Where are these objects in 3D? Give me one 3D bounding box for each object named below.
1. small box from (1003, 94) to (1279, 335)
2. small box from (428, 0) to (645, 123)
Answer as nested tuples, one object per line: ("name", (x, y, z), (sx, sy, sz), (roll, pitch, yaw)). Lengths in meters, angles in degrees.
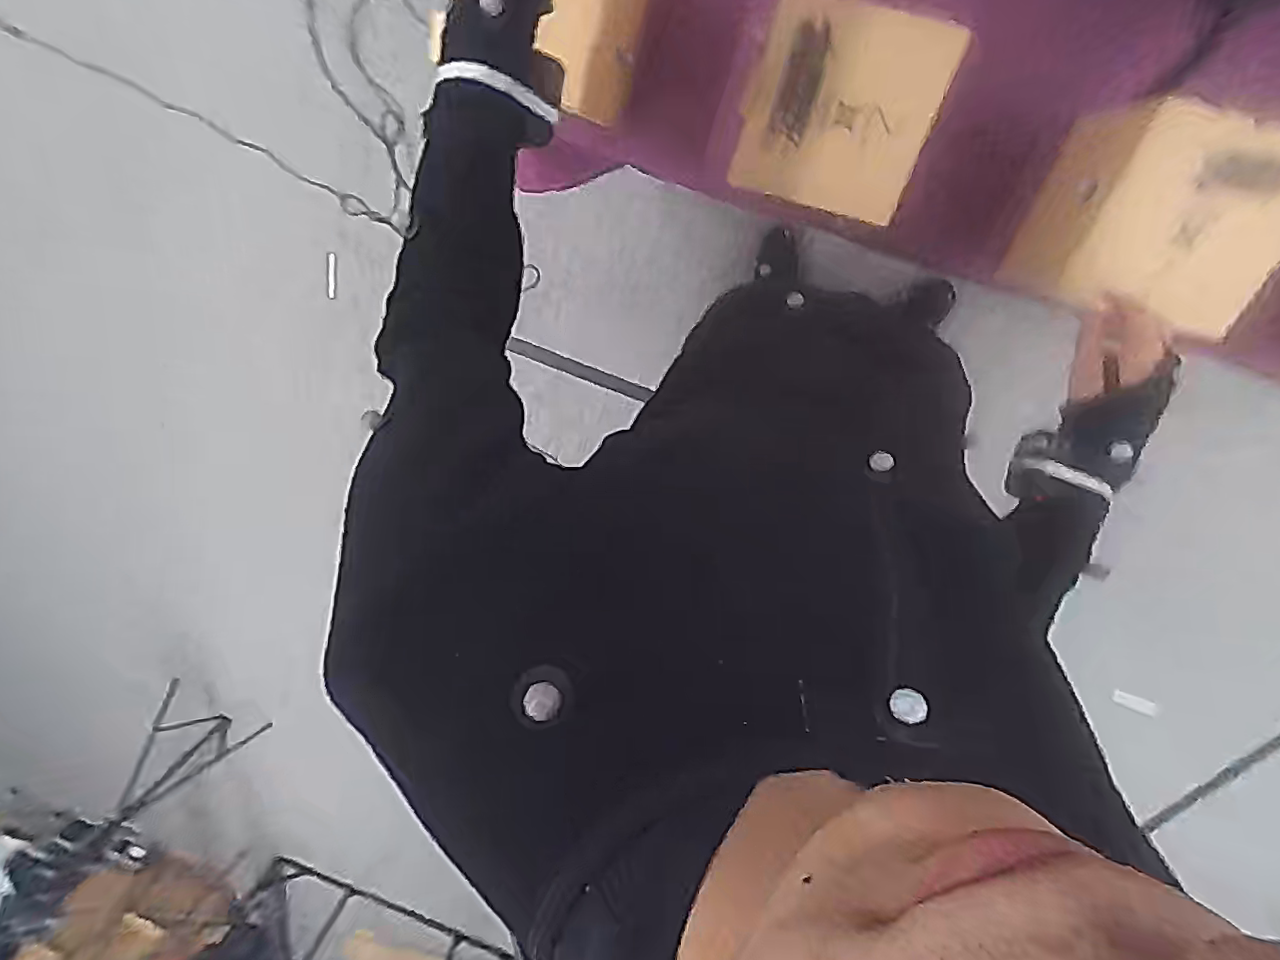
("small box", (0.530, -0.277, 0.573), (0.168, 0.176, 0.179), (17, 121, 6))
("small box", (-0.108, -0.521, 0.604), (0.179, 0.176, 0.168), (19, 120, 2))
